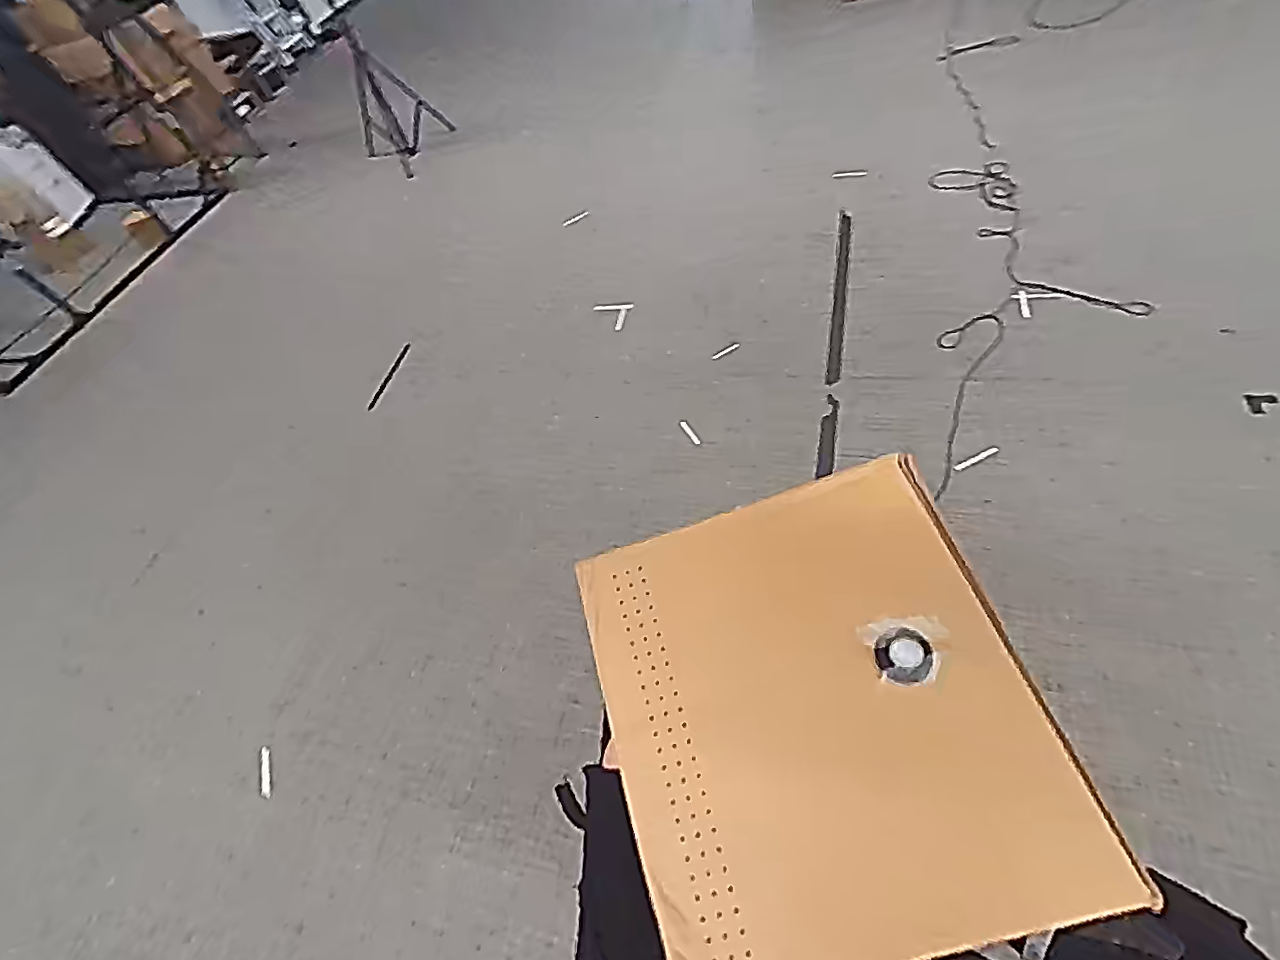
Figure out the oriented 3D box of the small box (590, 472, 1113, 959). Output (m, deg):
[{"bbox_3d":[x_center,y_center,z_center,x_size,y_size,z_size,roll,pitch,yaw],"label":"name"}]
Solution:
[{"bbox_3d":[0.084,0.127,0.302,0.176,0.168,0.179,-20,63,7],"label":"small box"}]
